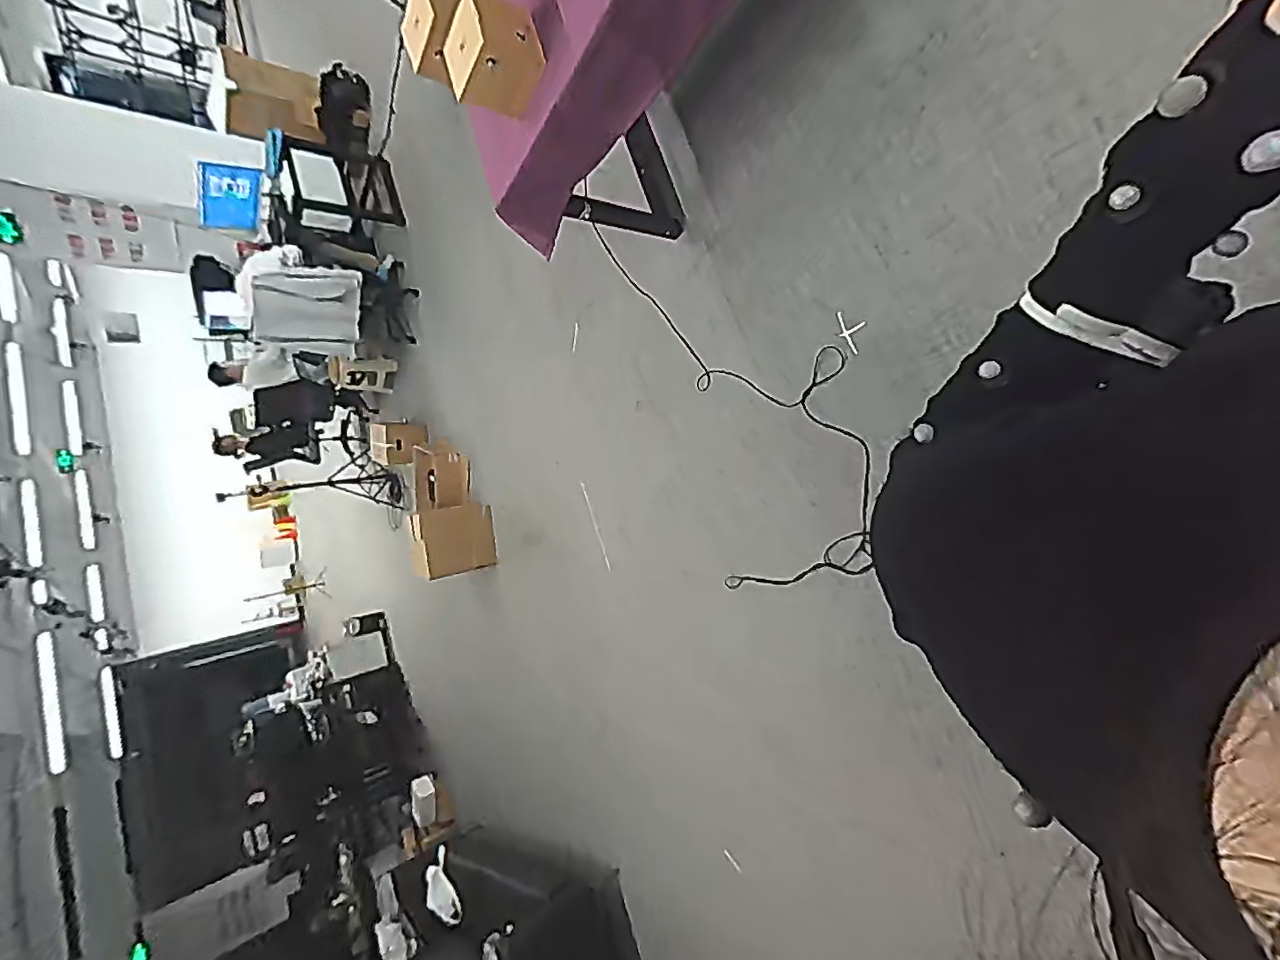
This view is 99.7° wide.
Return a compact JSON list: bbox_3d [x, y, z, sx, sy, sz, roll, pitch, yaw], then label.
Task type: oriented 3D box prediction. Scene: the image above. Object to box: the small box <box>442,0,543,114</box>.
[{"bbox_3d":[-0.364,-1.058,1.336,0.179,0.176,0.168,-27,77,47],"label":"small box"}]
